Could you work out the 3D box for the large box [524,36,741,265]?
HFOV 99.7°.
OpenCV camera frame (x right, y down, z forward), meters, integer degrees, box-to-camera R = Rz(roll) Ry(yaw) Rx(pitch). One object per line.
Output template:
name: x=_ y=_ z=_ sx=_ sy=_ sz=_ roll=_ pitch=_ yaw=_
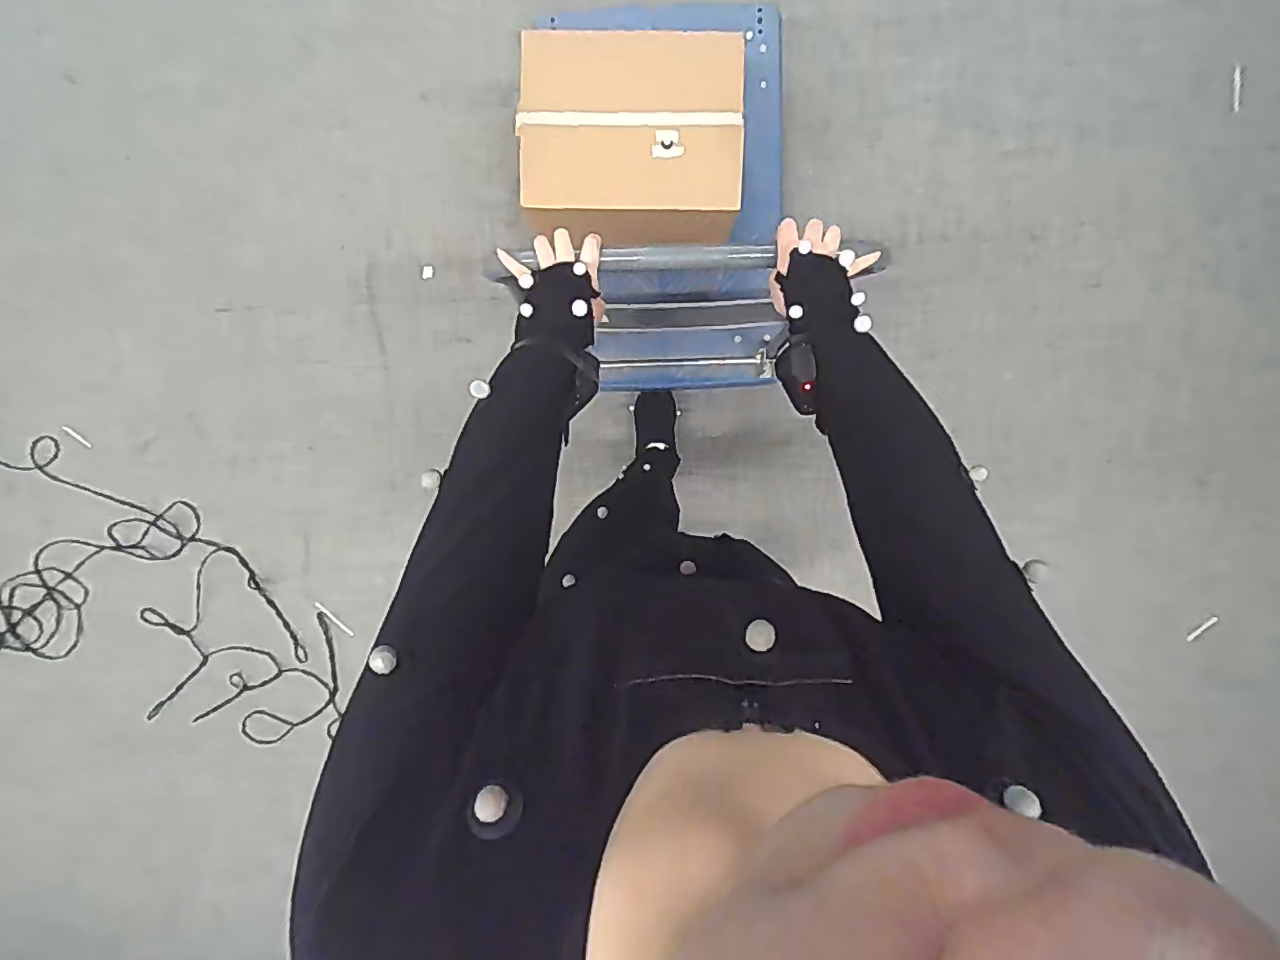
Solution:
large box: x=-0.015 y=-0.665 z=1.144 sx=0.408 sy=0.320 sz=0.320 roll=1 pitch=93 yaw=0
